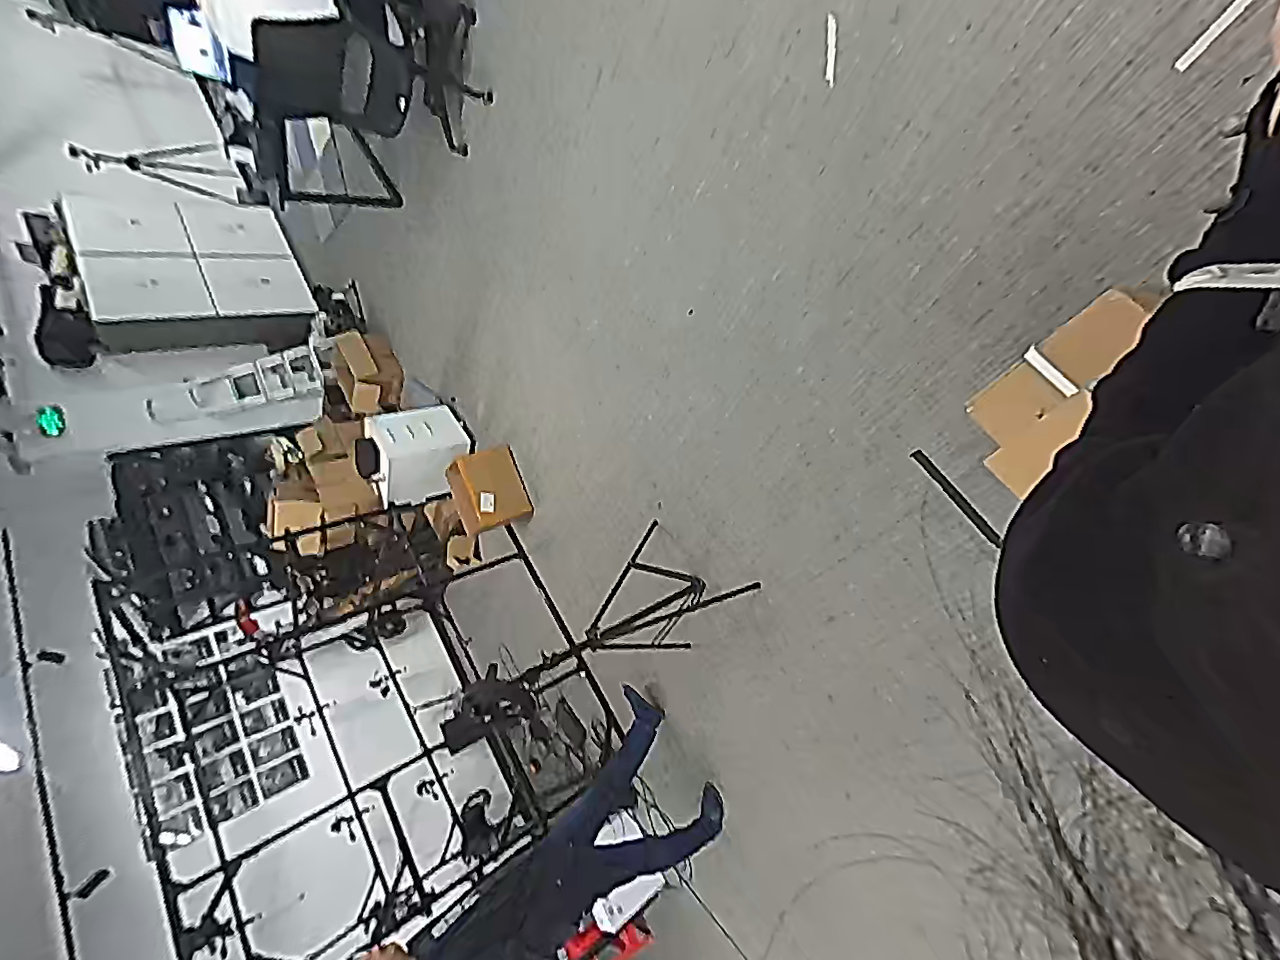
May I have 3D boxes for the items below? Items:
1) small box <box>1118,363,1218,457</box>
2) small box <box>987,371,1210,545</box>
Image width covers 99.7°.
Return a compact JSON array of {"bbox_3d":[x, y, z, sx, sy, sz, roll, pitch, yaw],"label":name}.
[{"bbox_3d":[0.782,-0.070,0.886,0.168,0.176,0.179,56,138,20],"label":"small box"},{"bbox_3d":[0.661,-0.038,0.783,0.168,0.176,0.179,56,139,21],"label":"small box"}]
